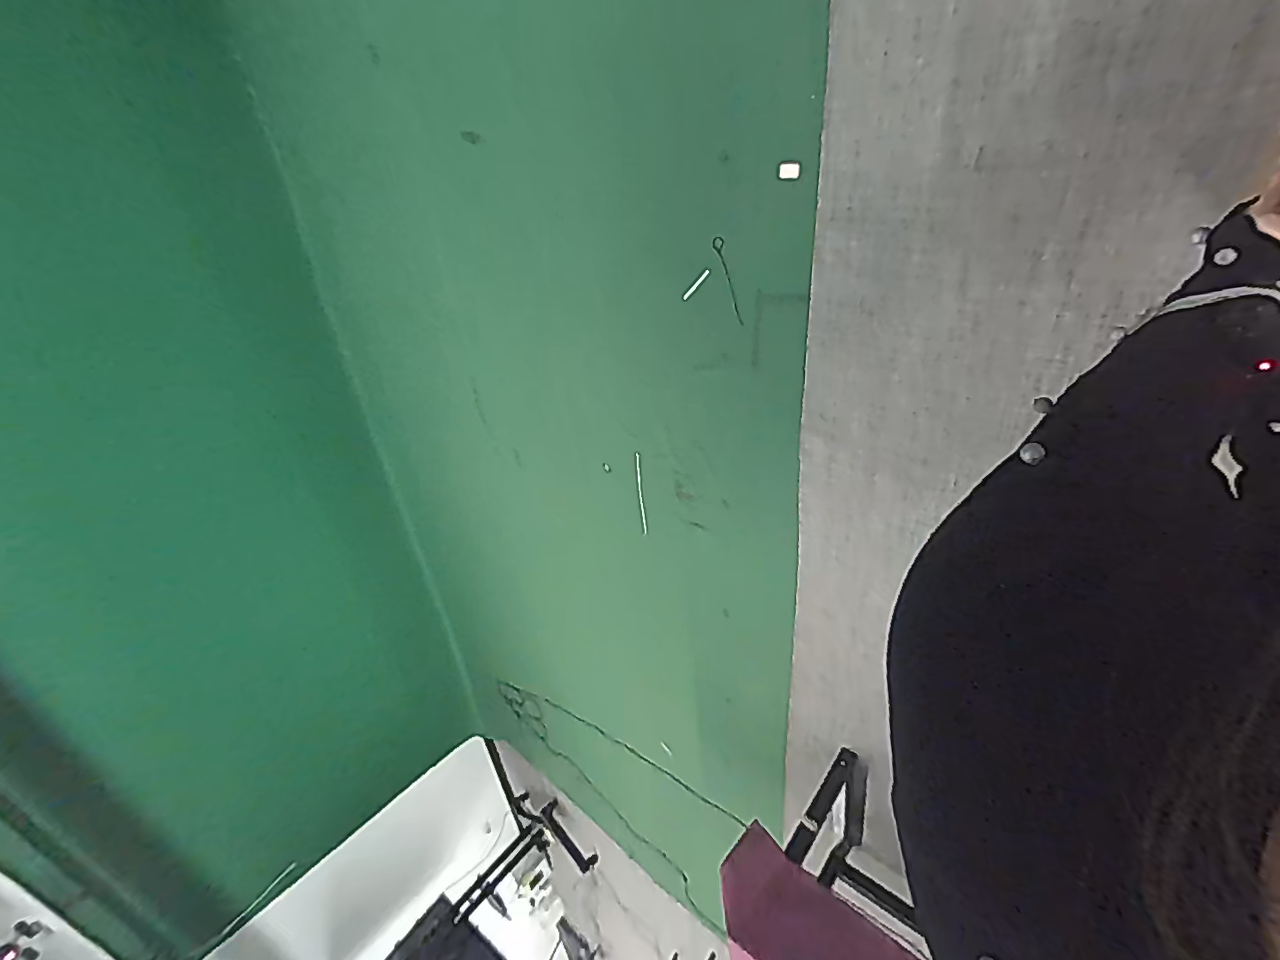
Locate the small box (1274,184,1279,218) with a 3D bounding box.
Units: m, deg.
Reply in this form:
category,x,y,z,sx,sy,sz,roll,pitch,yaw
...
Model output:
category,x,y,z,sx,sy,sz,roll,pitch,yaw
small box,0.595,-0.284,0.374,0.168,0.176,0.179,20,124,40
